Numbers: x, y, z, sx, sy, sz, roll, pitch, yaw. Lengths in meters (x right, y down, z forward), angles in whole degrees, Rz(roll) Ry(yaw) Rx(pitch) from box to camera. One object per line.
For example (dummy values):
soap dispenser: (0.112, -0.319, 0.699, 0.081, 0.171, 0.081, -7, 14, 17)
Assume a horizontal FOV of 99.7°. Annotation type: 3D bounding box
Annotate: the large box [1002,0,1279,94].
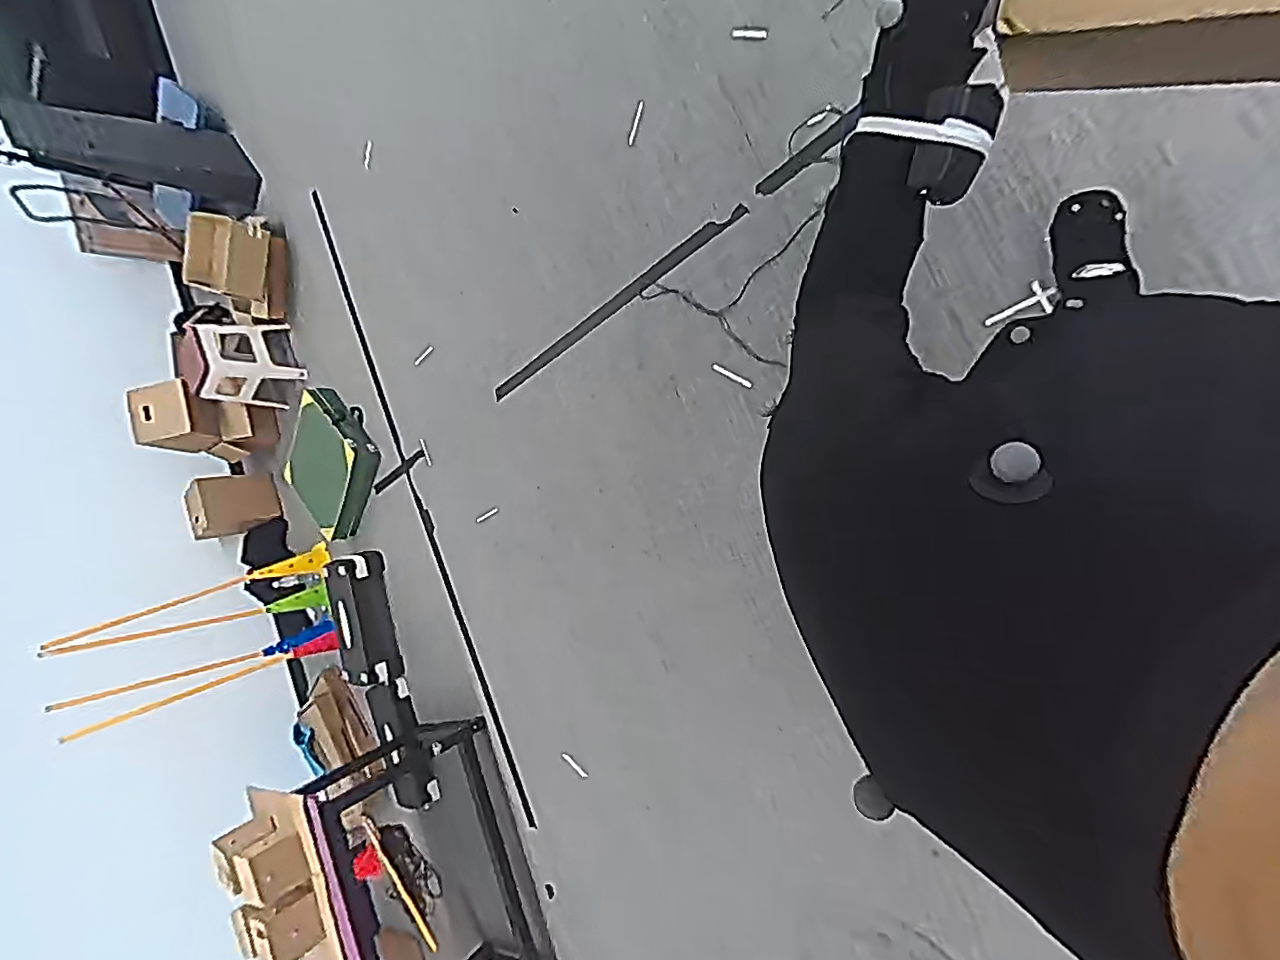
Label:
large box: (0.484, -0.442, 0.311, 0.408, 0.320, 0.320, 17, 124, 27)
